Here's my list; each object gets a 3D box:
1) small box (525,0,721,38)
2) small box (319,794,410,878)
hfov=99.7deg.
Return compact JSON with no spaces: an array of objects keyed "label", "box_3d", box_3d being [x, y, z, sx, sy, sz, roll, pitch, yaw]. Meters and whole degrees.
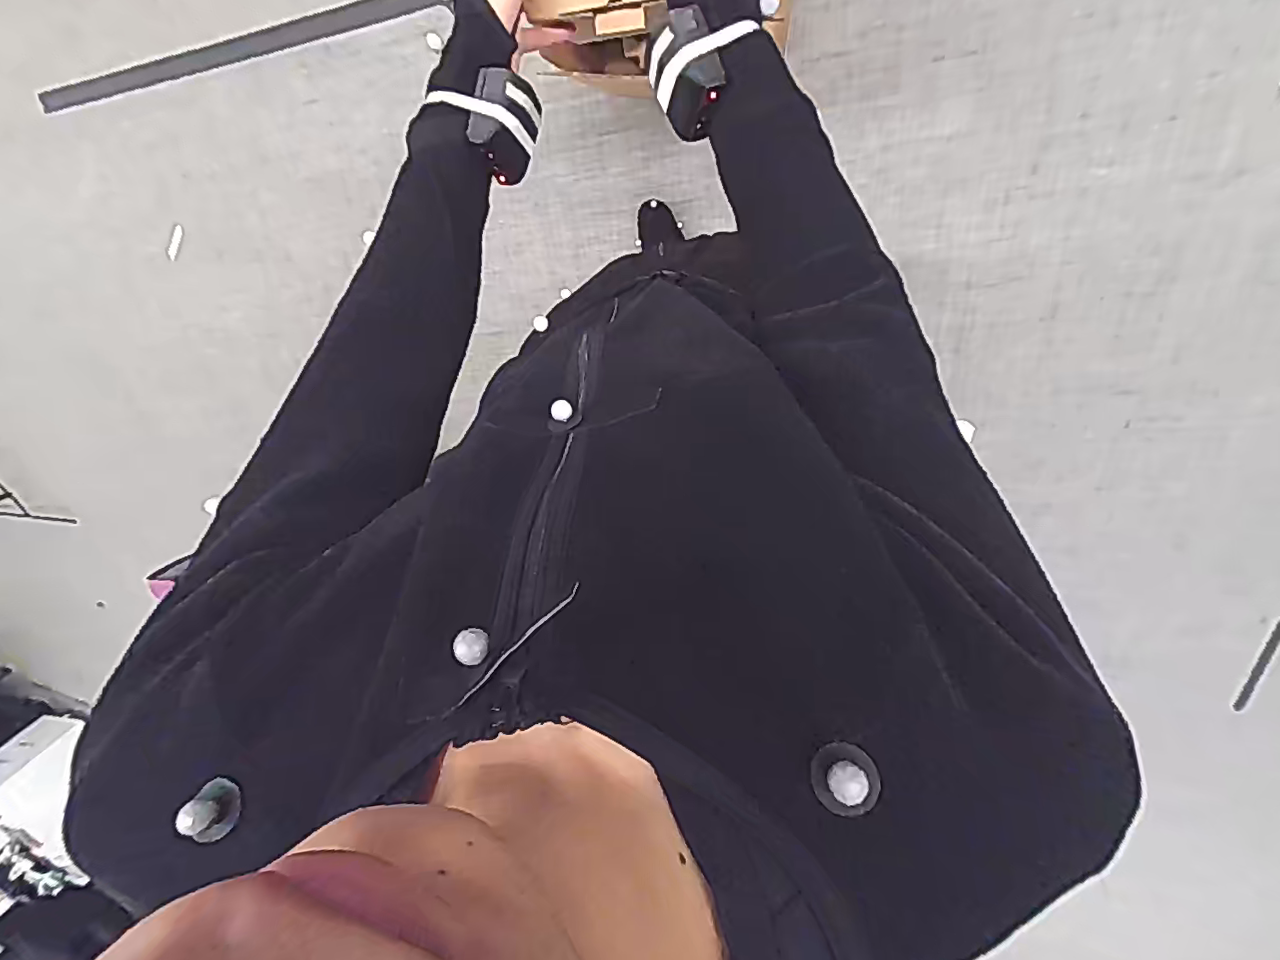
[{"label":"small box","box_3d":[-0.013,-0.522,0.487,0.168,0.176,0.179,1,123,11]},{"label":"small box","box_3d":[-0.873,1.142,1.741,0.179,0.176,0.168,-11,115,21]}]
